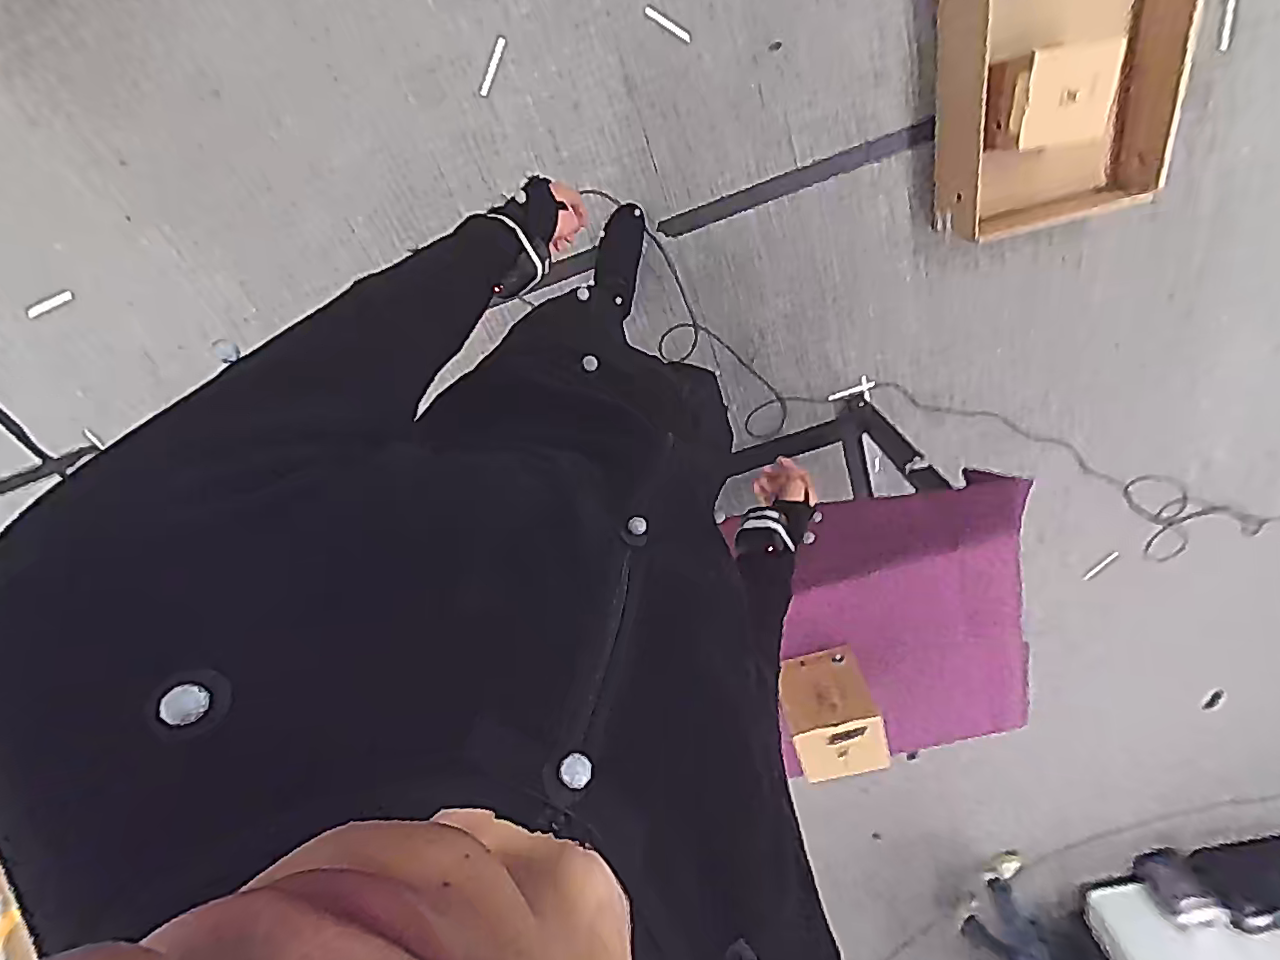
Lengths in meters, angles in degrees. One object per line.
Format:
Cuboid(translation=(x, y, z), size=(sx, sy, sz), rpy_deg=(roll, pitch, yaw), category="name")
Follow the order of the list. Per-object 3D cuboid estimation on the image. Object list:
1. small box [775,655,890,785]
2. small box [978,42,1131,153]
Cuboid(translation=(0.386, 0.479, 1.099), size=(0.168, 0.176, 0.179), rpy_deg=(-17, 121, 9), category="small box")
Cuboid(translation=(0.853, -0.793, 1.136), size=(0.179, 0.176, 0.168), rpy_deg=(-6, 121, 3), category="small box")
